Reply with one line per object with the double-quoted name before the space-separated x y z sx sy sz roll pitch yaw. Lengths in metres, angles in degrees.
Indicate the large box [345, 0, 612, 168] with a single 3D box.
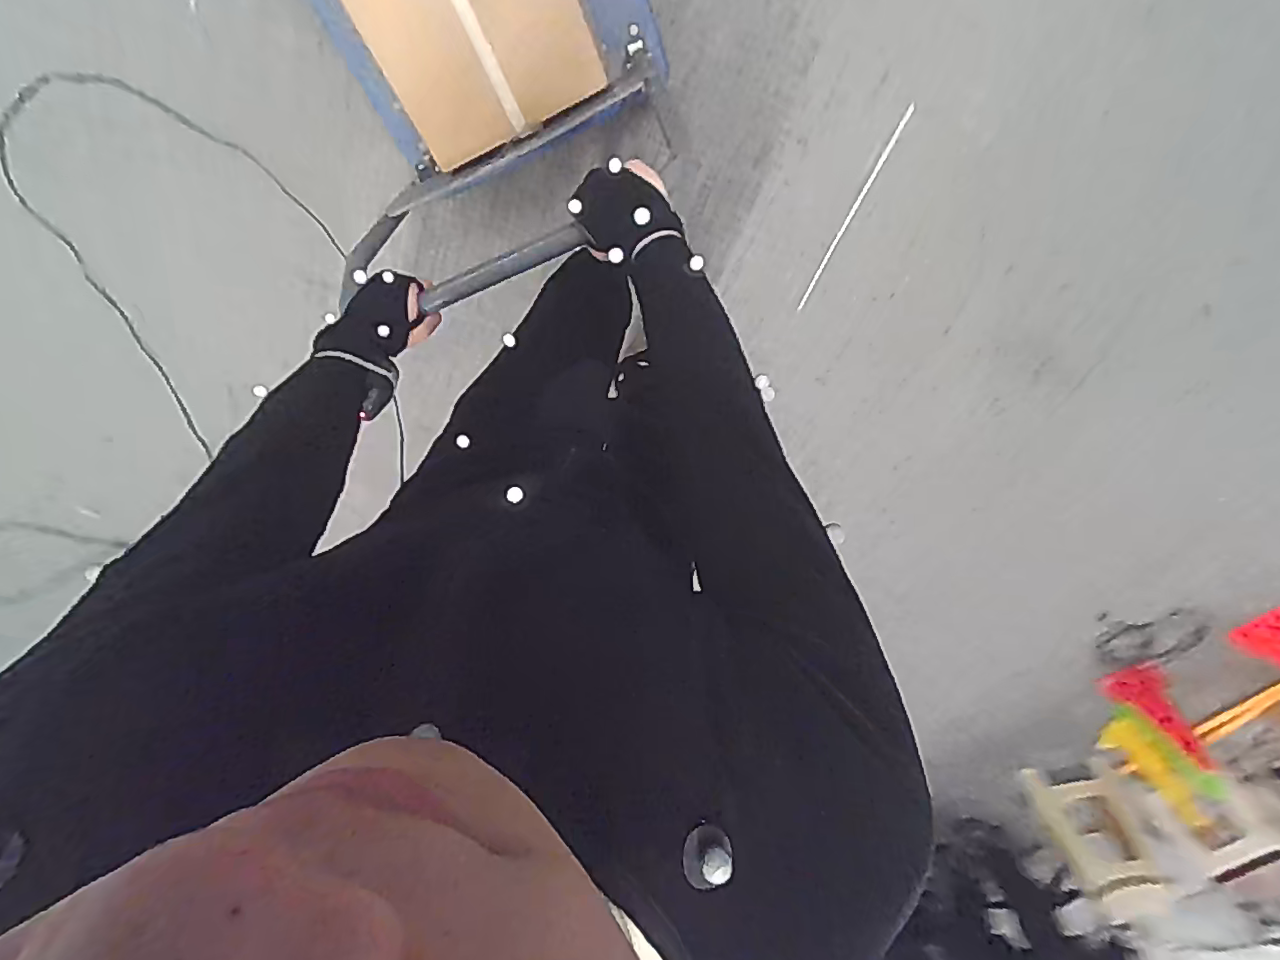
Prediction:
"large box" -0.270 -0.804 0.875 0.320 0.320 0.408 -20 127 13
